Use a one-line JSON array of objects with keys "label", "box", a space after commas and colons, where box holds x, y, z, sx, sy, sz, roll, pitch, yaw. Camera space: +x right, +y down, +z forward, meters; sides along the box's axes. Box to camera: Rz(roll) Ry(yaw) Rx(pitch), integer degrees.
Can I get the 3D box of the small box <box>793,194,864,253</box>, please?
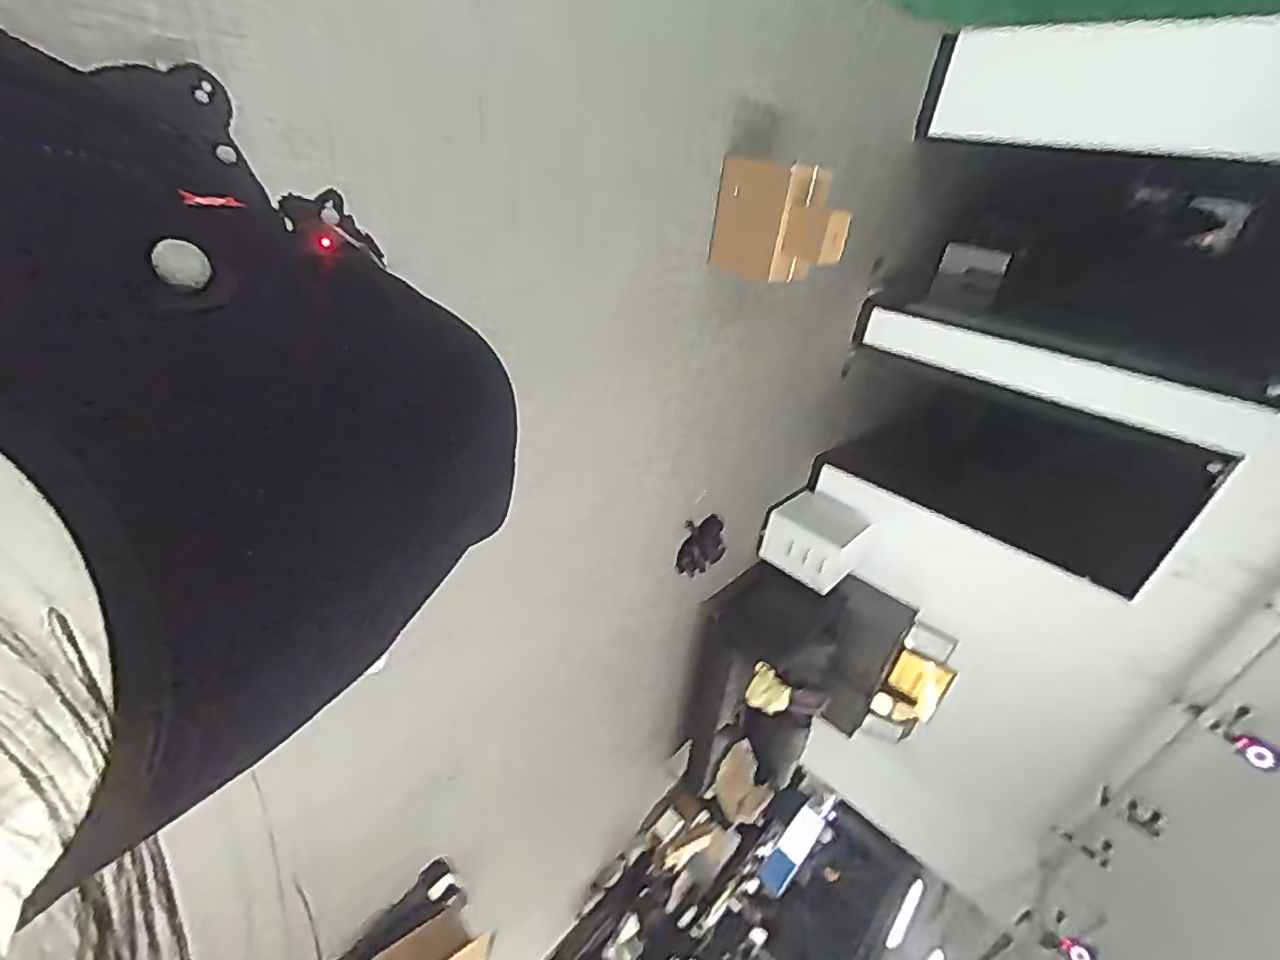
[{"label": "small box", "box": [0.691, -0.953, 2.000, 0.168, 0.176, 0.179, -23, 134, -38]}]
